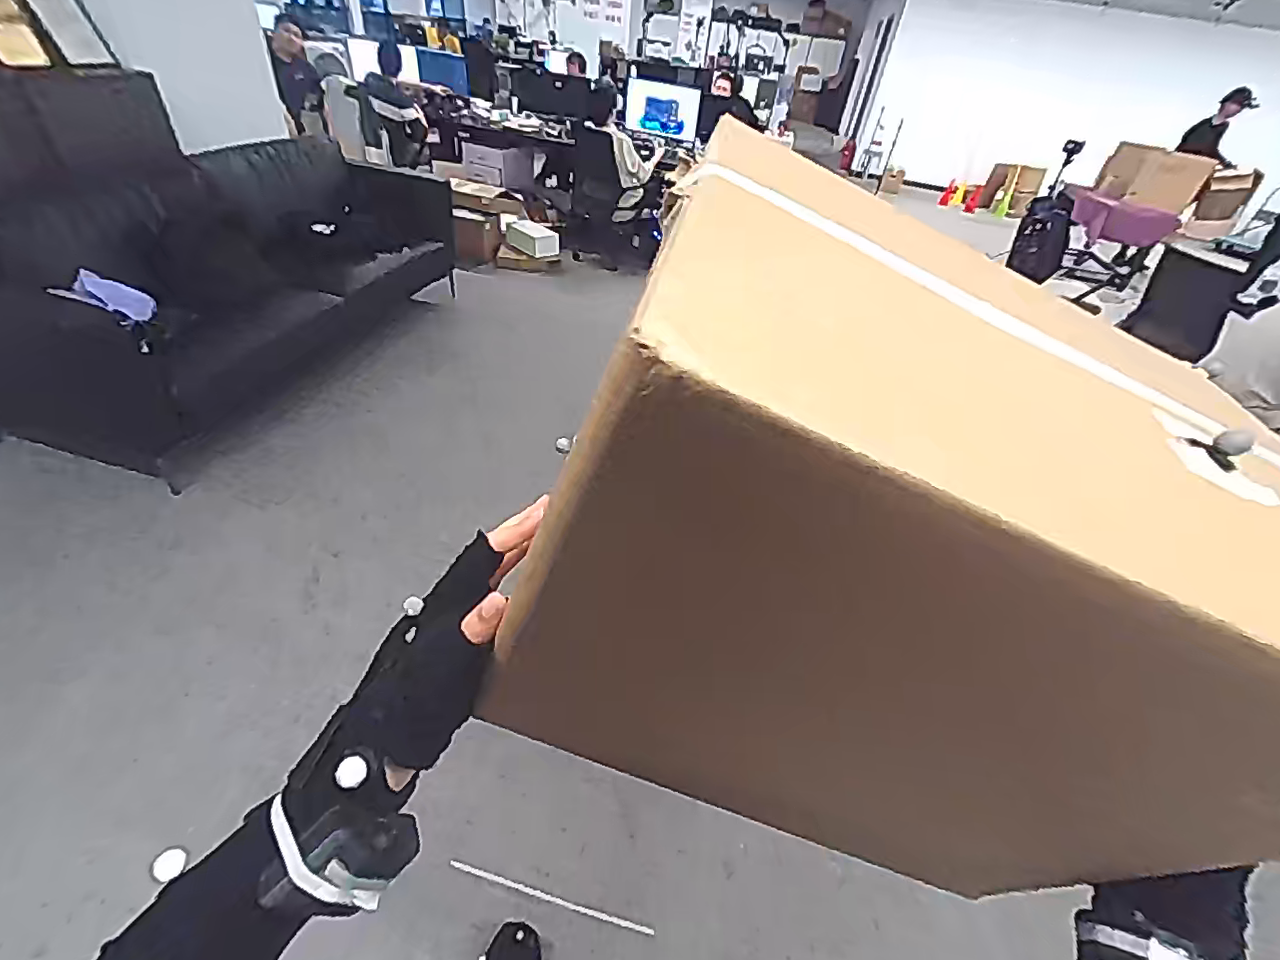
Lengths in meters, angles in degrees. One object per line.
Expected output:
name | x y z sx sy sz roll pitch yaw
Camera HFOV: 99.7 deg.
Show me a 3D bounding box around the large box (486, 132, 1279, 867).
large box | 0.154 0.030 0.397 0.408 0.320 0.320 24 45 -7
